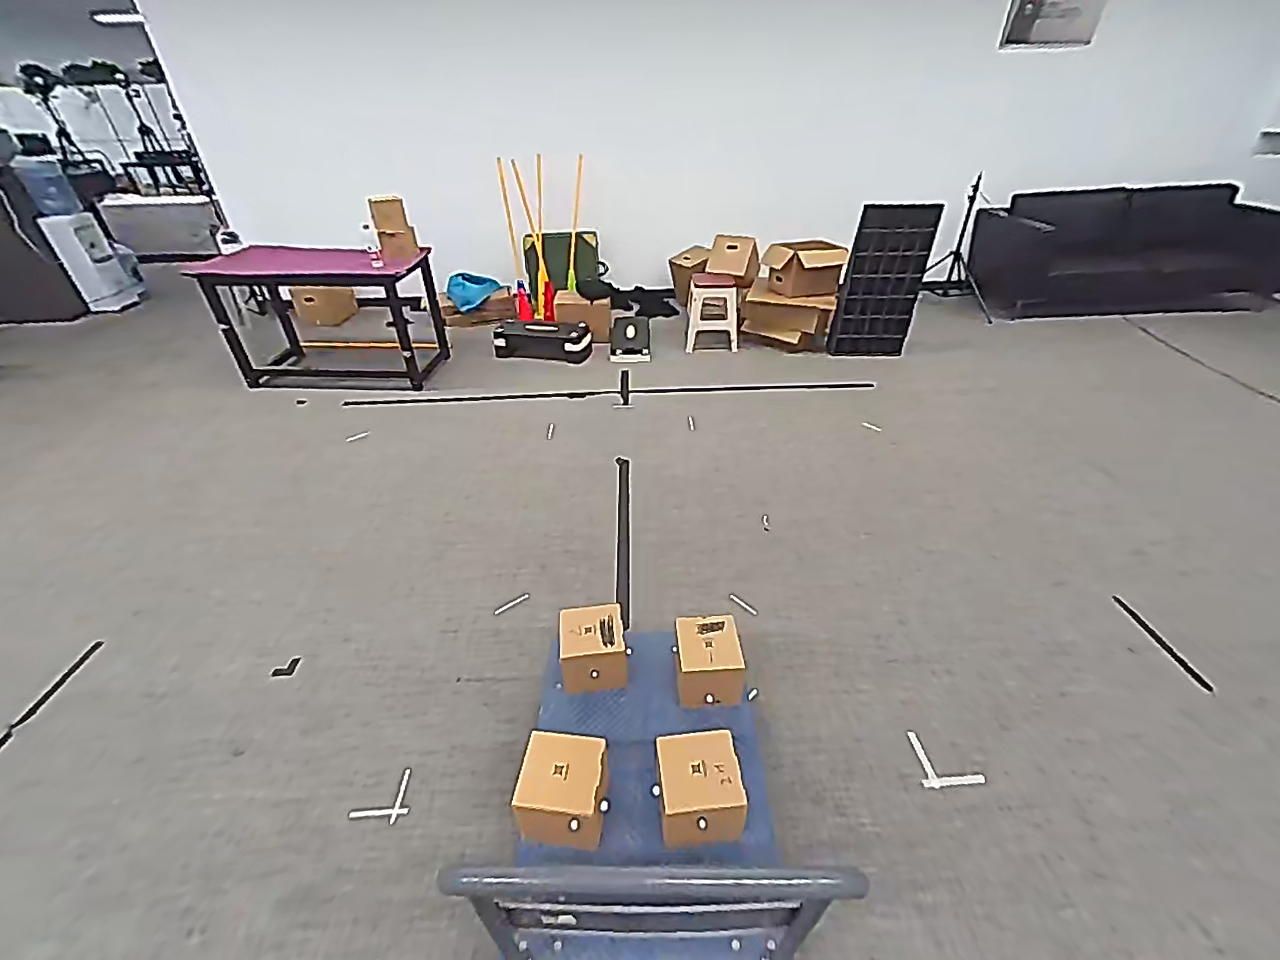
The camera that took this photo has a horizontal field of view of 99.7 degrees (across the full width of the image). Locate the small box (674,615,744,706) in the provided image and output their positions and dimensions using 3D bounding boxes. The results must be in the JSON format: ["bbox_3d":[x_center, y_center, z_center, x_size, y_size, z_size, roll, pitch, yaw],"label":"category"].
[{"bbox_3d":[0.184,0.497,1.490,0.168,0.176,0.179,-3,37,-1],"label":"small box"}]

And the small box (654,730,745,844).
[{"bbox_3d":[0.129,0.694,1.219,0.179,0.176,0.168,-4,36,-4],"label":"small box"}]

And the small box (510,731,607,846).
[{"bbox_3d":[-0.175,0.698,1.223,0.179,0.176,0.168,4,35,5],"label":"small box"}]
